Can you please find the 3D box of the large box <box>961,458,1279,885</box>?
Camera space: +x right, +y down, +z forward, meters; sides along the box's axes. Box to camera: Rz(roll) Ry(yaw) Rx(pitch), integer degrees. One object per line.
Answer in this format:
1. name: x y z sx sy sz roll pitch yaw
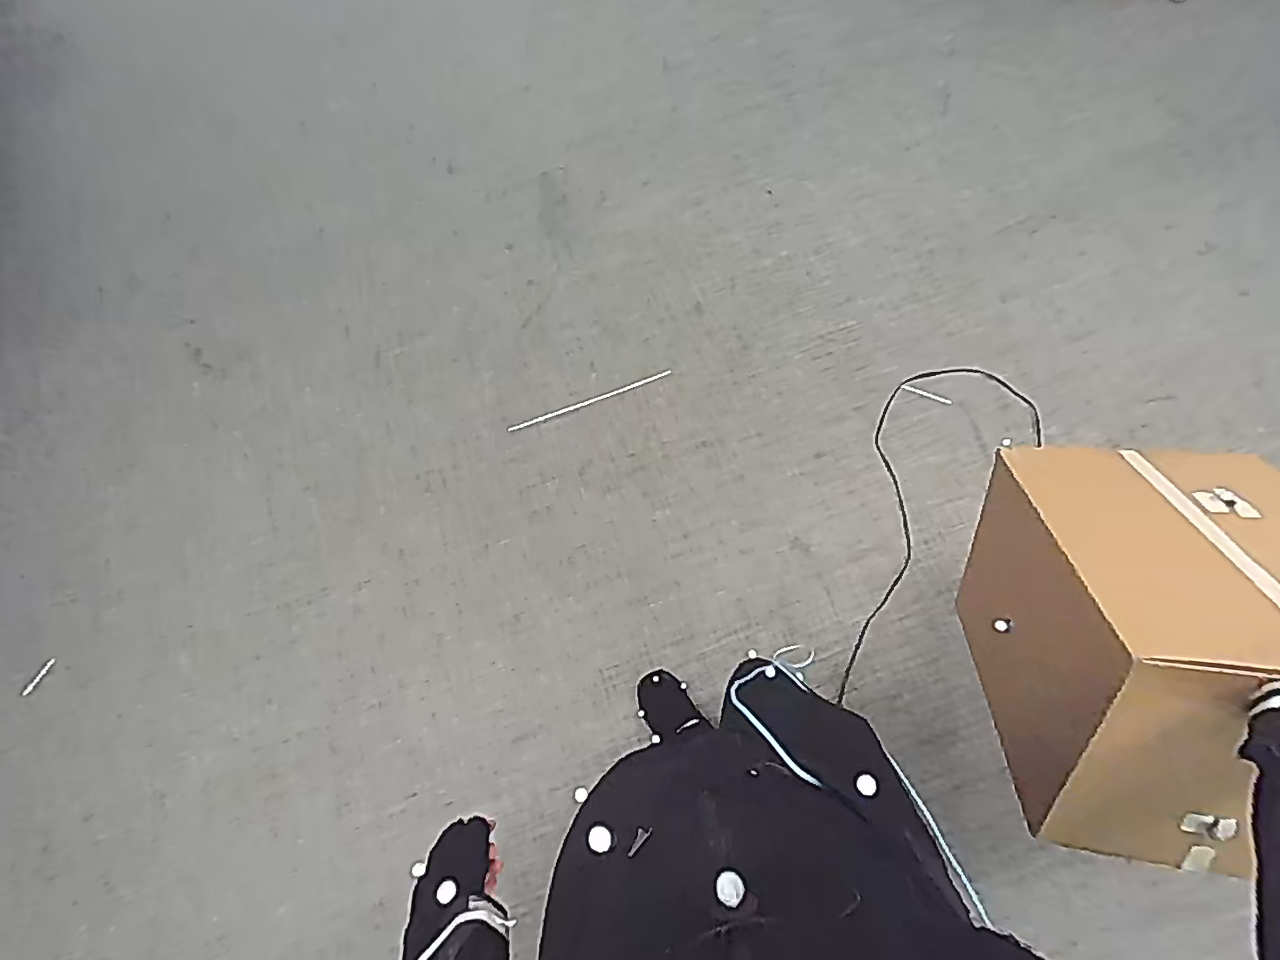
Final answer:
1. large box: 0.650 0.205 0.682 0.320 0.320 0.408 4 31 14
